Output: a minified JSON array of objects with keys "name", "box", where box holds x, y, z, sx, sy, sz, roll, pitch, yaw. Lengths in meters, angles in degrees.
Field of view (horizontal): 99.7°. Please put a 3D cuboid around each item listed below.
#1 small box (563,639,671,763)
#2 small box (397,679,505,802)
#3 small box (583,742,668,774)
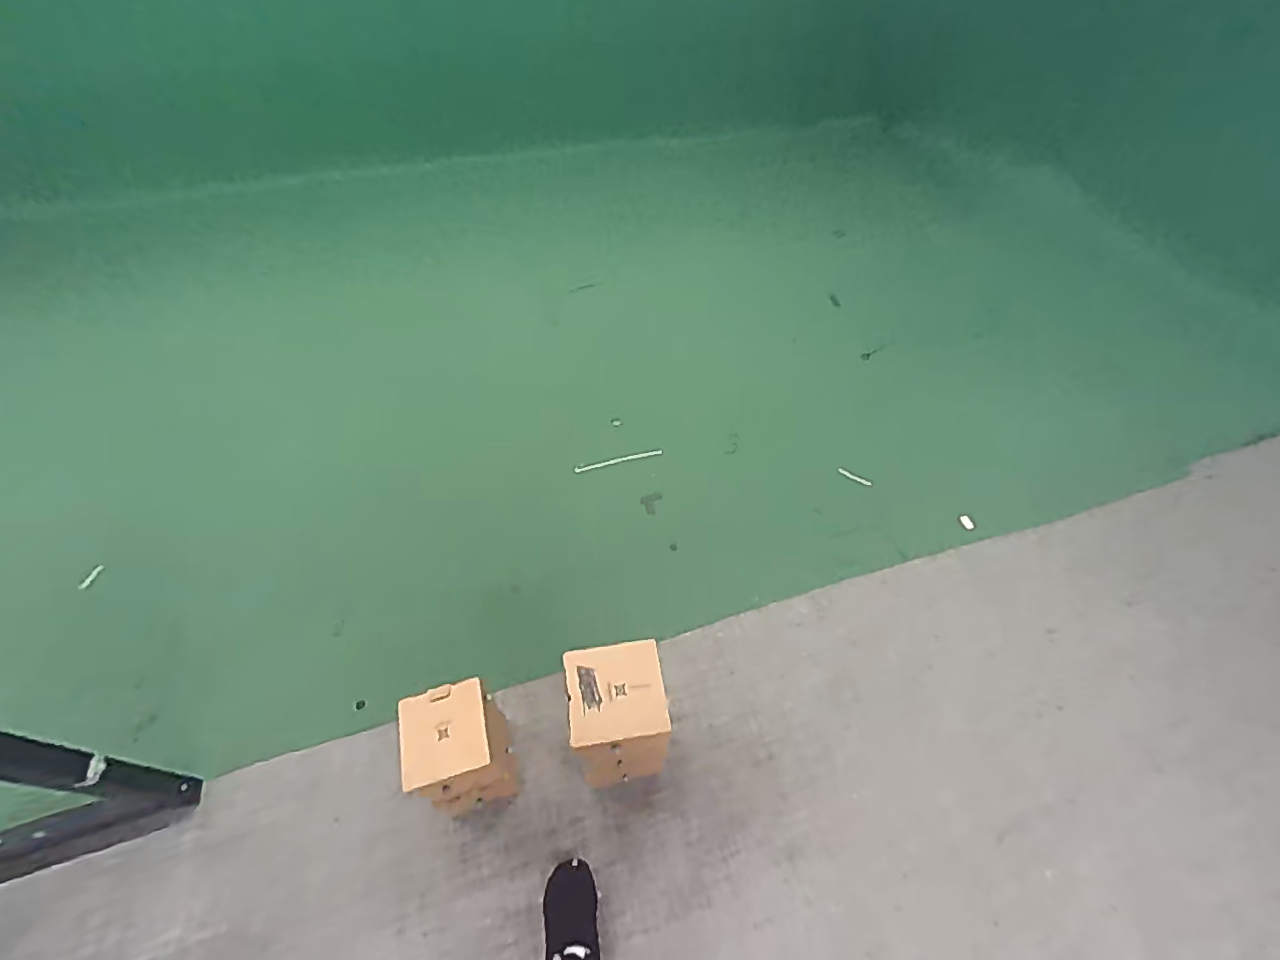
[{"name":"small box","box":[-0.044,0.417,1.011,0.179,0.176,0.168,-7,54,-6]},{"name":"small box","box":[-0.386,0.544,1.118,0.168,0.176,0.179,-15,53,-11]},{"name":"small box","box":[-0.039,0.513,1.144,0.179,0.176,0.168,-5,54,-5]}]
